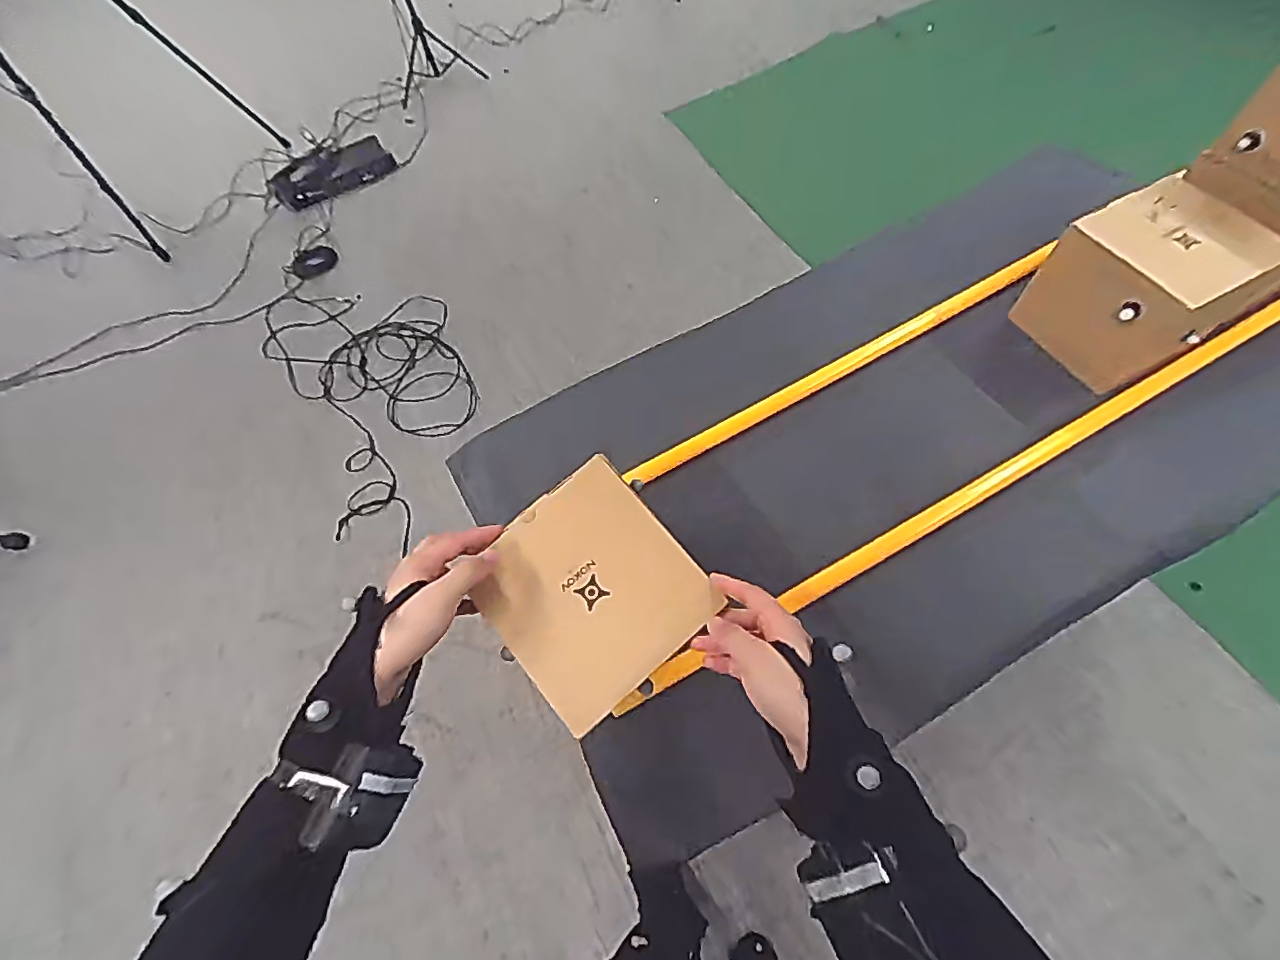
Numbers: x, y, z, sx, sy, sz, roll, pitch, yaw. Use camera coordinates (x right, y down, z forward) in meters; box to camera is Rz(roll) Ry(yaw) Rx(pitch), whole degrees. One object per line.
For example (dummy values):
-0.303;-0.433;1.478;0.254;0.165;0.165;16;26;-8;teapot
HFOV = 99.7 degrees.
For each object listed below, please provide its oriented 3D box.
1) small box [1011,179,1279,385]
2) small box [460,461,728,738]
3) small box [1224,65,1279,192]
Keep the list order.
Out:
0.656;-0.251;0.721;0.168;0.176;0.179;-26;63;-6;small box
-0.036;0.114;0.535;0.168;0.176;0.179;-40;76;-8;small box
0.837;-0.433;0.604;0.179;0.176;0.168;-24;64;-6;small box
